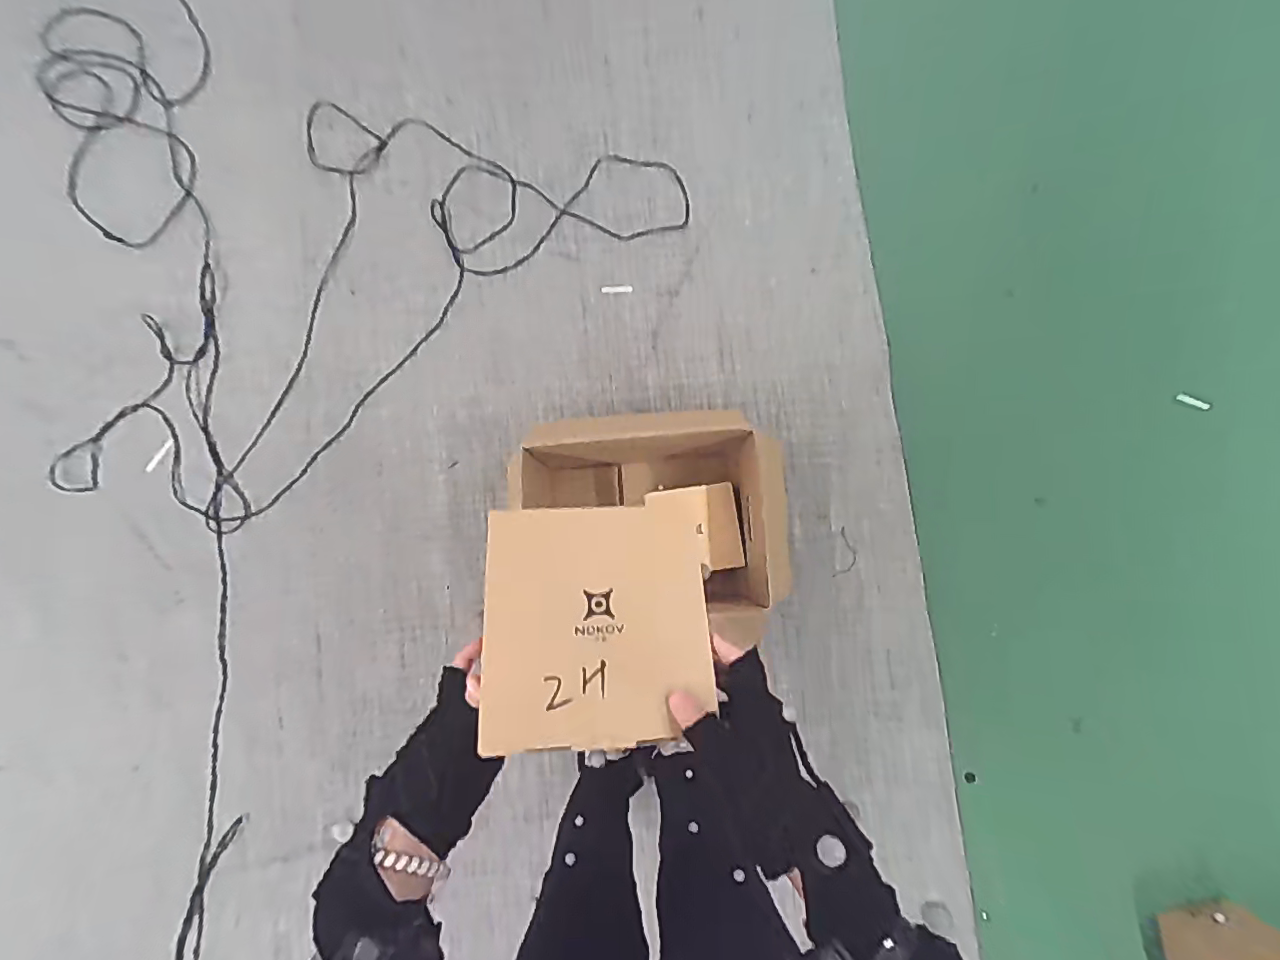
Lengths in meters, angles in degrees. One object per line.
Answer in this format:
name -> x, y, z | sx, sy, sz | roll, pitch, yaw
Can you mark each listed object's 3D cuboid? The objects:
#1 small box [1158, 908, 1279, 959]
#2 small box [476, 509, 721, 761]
small box -> 1.163, 0.975, 1.035 | 0.168, 0.176, 0.179 | -8, 82, -2
small box -> -0.038, 0.137, 0.463 | 0.168, 0.176, 0.179 | -1, 65, -6
